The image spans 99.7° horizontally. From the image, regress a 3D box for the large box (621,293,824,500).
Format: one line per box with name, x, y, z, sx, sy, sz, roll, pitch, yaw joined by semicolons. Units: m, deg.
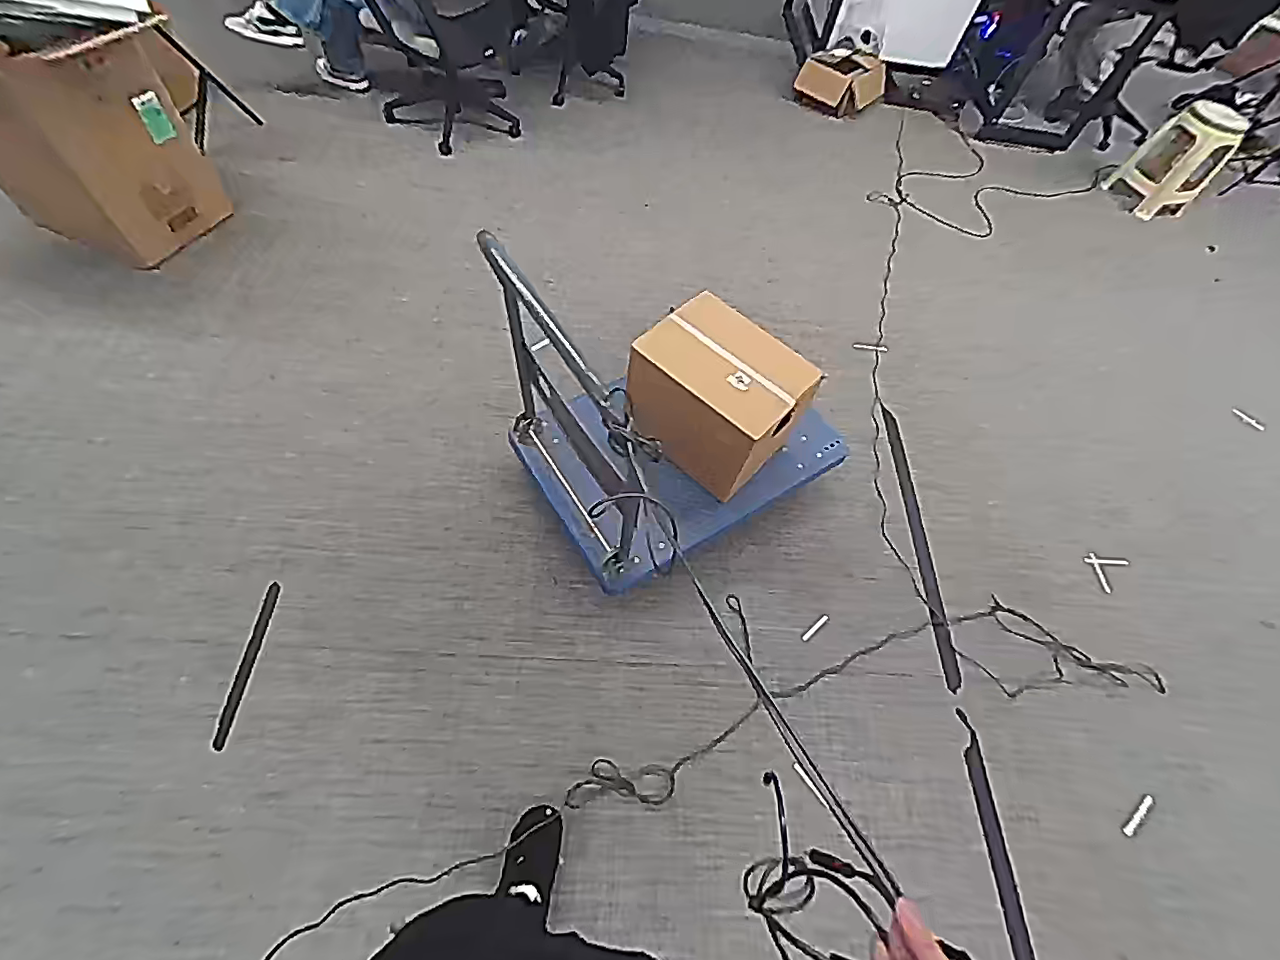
large box;0.204;-0.226;1.481;0.408;0.320;0.320;41;64;15
